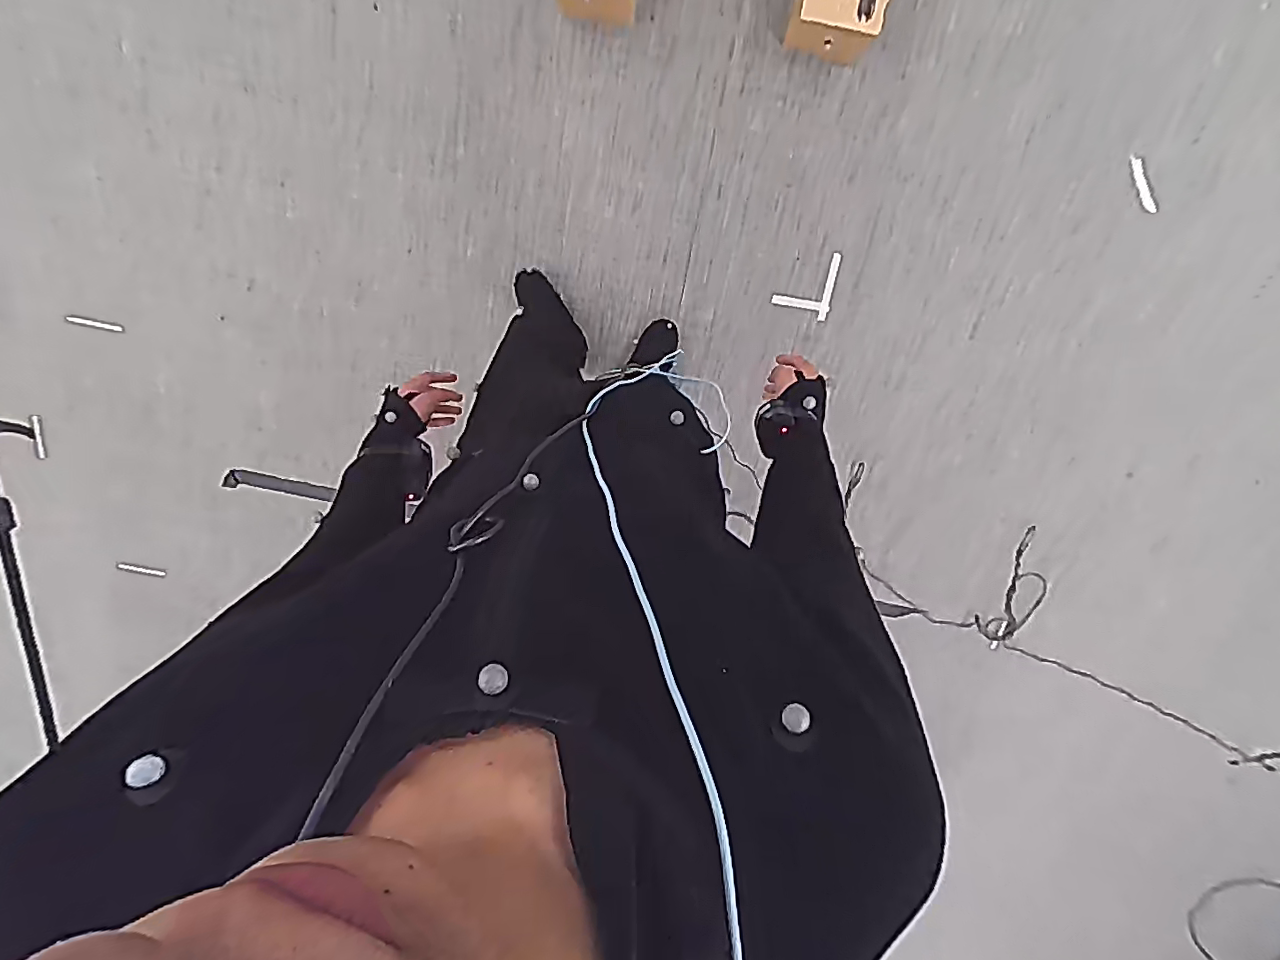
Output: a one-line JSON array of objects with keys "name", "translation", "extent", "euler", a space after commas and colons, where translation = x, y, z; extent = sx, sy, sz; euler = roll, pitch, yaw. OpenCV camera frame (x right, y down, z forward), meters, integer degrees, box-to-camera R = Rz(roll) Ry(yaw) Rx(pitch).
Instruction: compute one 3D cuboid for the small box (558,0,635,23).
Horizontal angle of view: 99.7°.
[{"name": "small box", "translation": [-0.091, -1.136, 1.173], "extent": [0.179, 0.176, 0.168], "euler": [10, 110, -1]}]
